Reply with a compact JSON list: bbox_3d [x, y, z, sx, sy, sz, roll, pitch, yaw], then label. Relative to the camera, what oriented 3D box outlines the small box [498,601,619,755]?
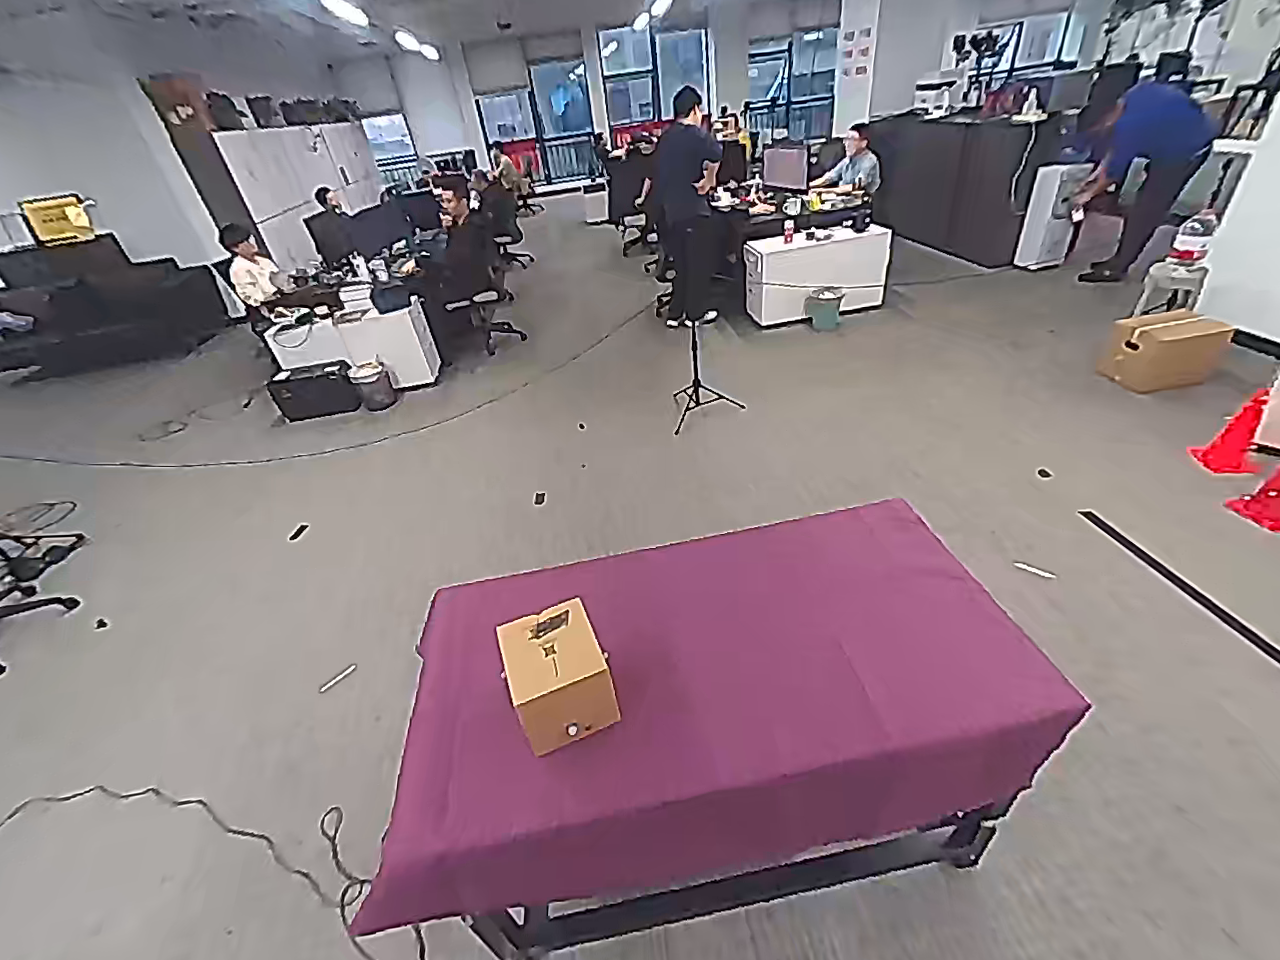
[{"bbox_3d":[-0.149,0.363,0.998,0.168,0.176,0.179,-19,38,-13],"label":"small box"}]
